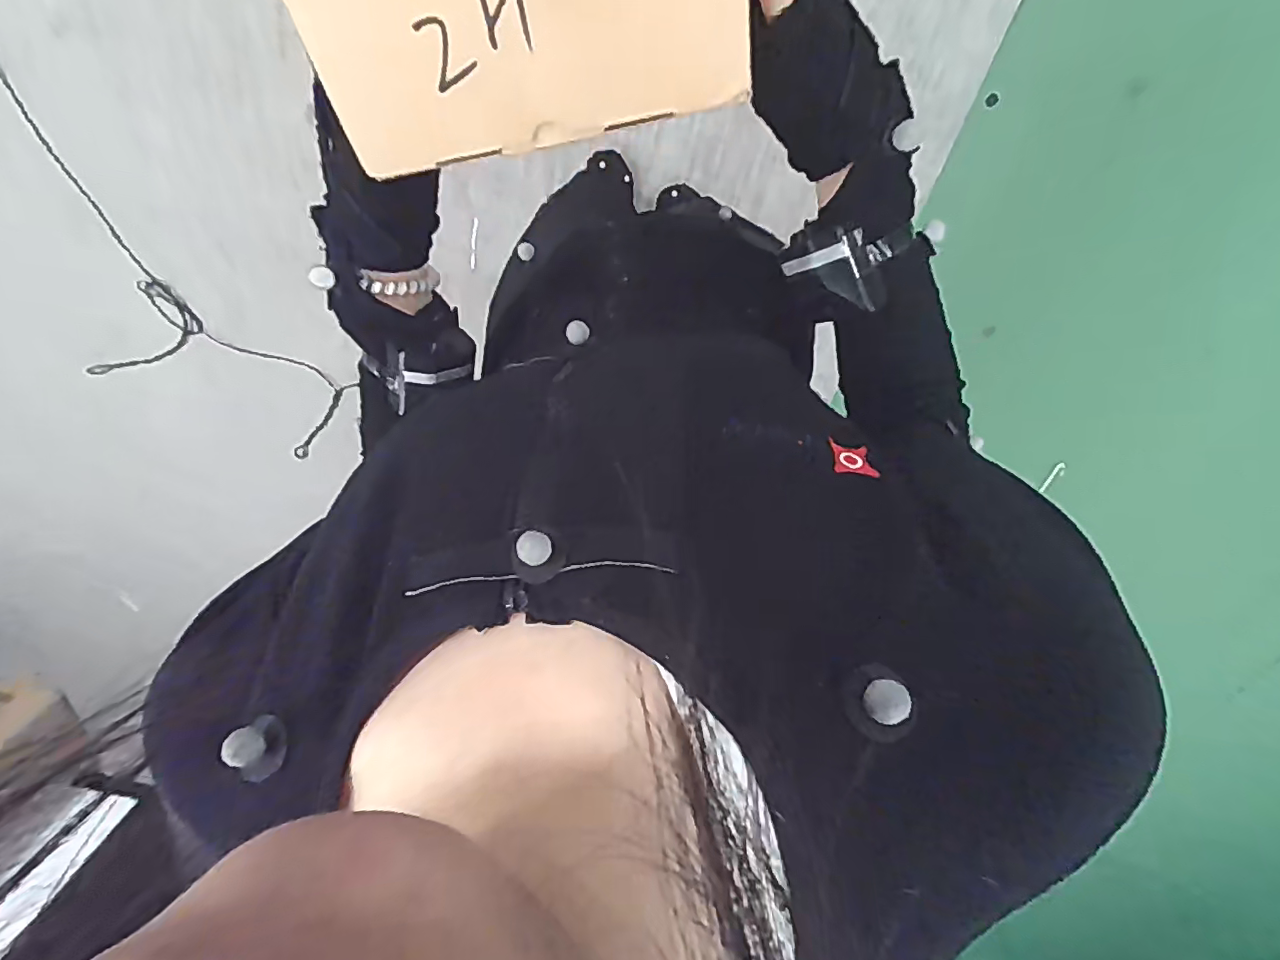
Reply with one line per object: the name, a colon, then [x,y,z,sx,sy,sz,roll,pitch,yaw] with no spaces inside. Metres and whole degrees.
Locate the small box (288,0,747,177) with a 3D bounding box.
small box: [-0.050,-0.257,0.229,0.168,0.176,0.179,-7,132,8]
